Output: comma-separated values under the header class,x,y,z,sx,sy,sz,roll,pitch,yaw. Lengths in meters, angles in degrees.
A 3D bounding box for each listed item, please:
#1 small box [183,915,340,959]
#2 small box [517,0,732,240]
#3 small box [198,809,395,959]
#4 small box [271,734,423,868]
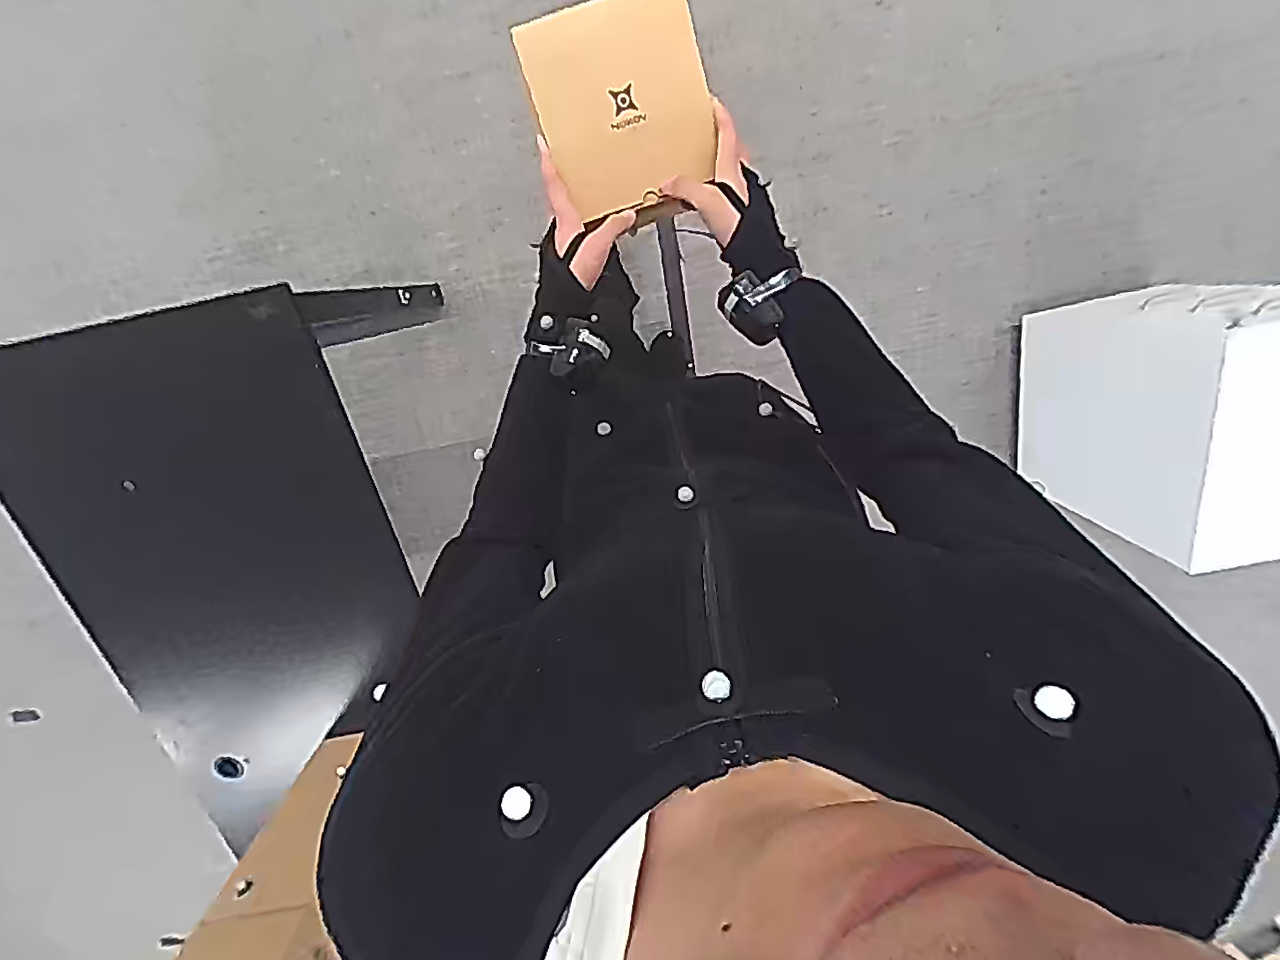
class,x,y,z,sx,sy,sz,roll,pitch,yaw
small box,-0.528,0.723,0.712,0.179,0.176,0.168,-13,111,3
small box,-0.020,-0.379,0.581,0.168,0.176,0.179,-19,109,0
small box,-0.531,0.668,0.865,0.179,0.176,0.168,-12,111,3
small box,-0.532,0.611,1.020,0.179,0.176,0.168,-13,110,3
